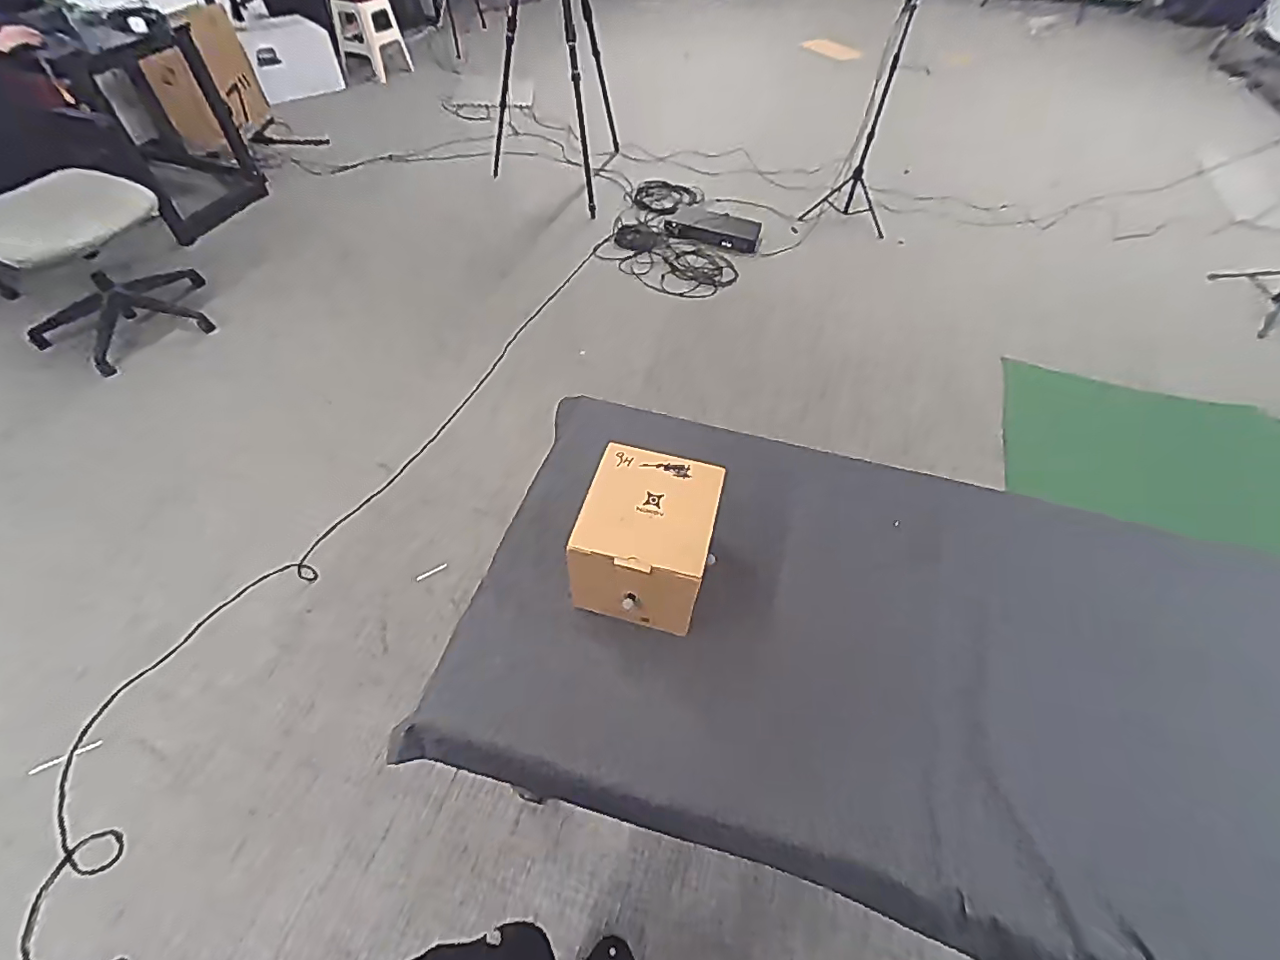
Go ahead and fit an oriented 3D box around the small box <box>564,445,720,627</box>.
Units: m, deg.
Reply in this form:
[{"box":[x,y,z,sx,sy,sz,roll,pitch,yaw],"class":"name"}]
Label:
[{"box":[0.007,0.082,0.752,0.168,0.176,0.179,13,53,8],"class":"small box"}]
